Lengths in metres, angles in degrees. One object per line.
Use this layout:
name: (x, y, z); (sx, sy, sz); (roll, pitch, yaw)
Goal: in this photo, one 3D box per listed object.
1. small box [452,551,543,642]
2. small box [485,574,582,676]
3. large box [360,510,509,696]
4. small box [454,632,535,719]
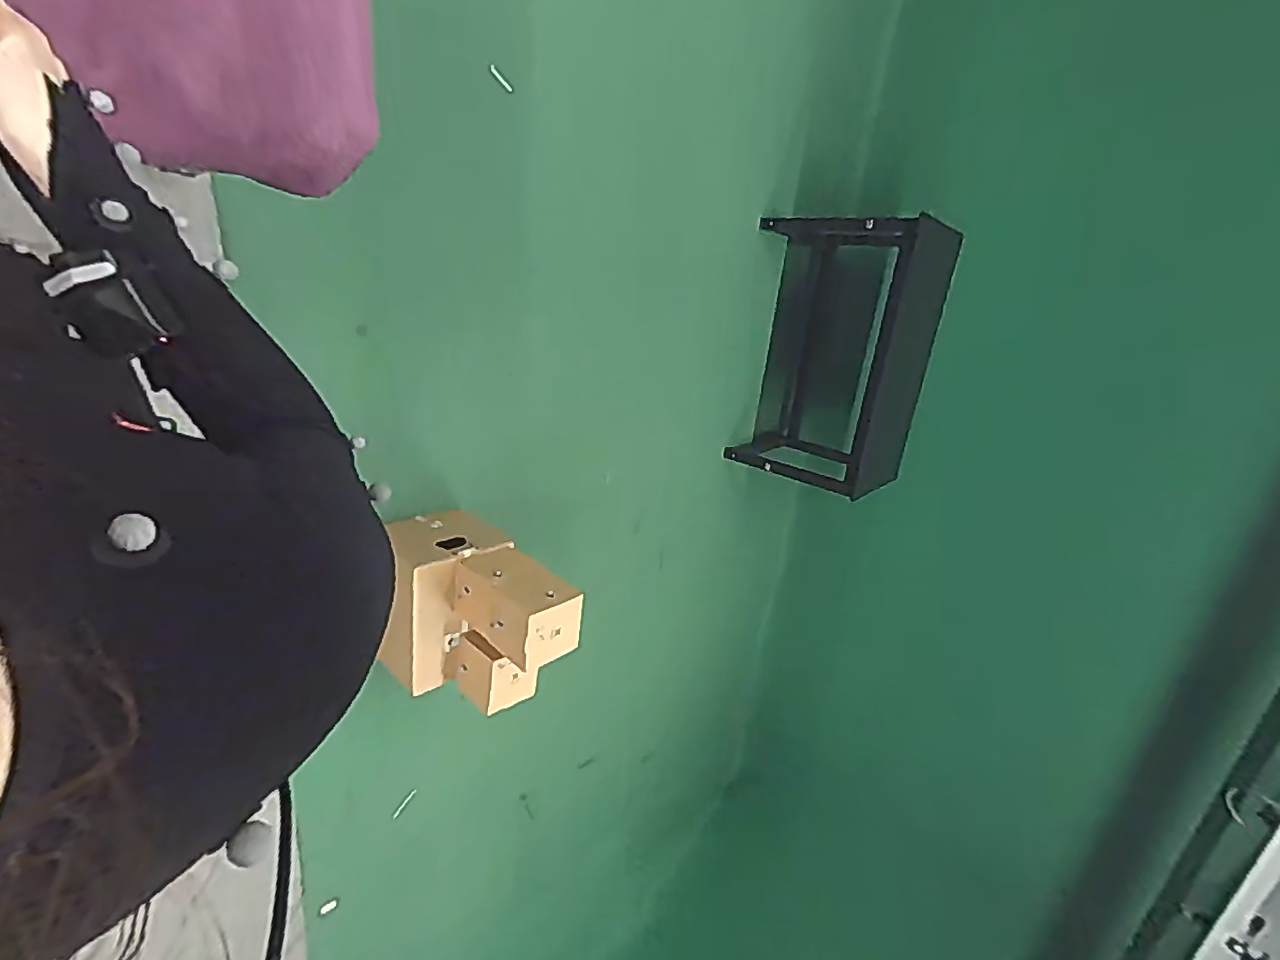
small box: (-0.395, 0.311, 1.493); (0.179, 0.176, 0.168); (-12, 116, -47)
small box: (-0.276, 0.363, 1.391); (0.179, 0.176, 0.168); (-13, 117, -47)
large box: (-0.621, 0.349, 1.635); (0.320, 0.320, 0.408); (-11, 116, -47)
small box: (-0.421, 0.547, 1.569); (0.168, 0.176, 0.179); (-4, 110, -50)
